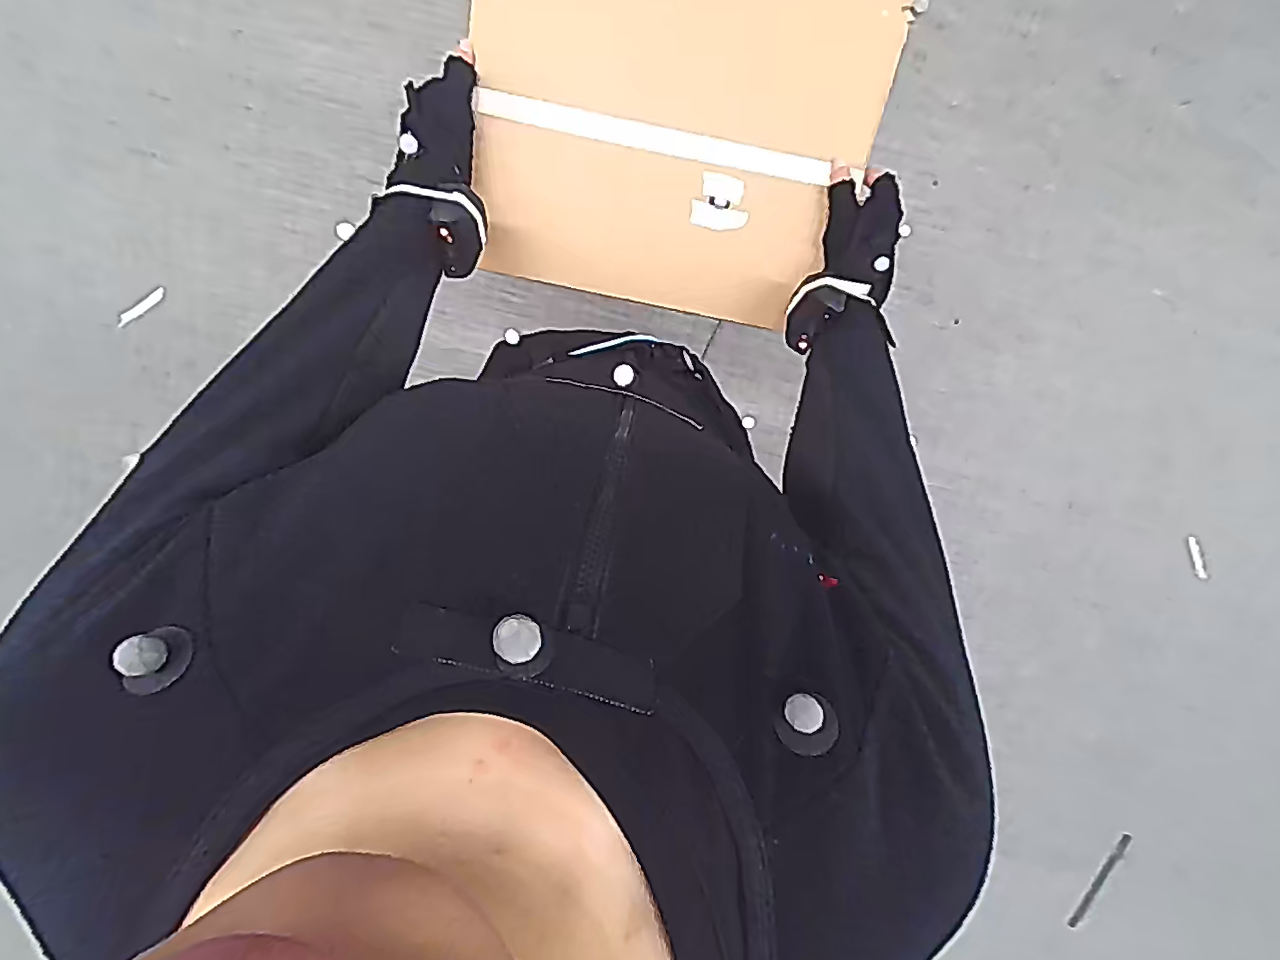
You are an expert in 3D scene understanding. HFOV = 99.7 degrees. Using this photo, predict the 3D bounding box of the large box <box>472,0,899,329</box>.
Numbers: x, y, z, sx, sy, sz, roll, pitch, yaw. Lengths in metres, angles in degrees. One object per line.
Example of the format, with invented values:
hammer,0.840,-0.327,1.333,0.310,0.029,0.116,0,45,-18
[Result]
large box,0.031,-0.399,0.702,0.408,0.320,0.320,10,111,-3
